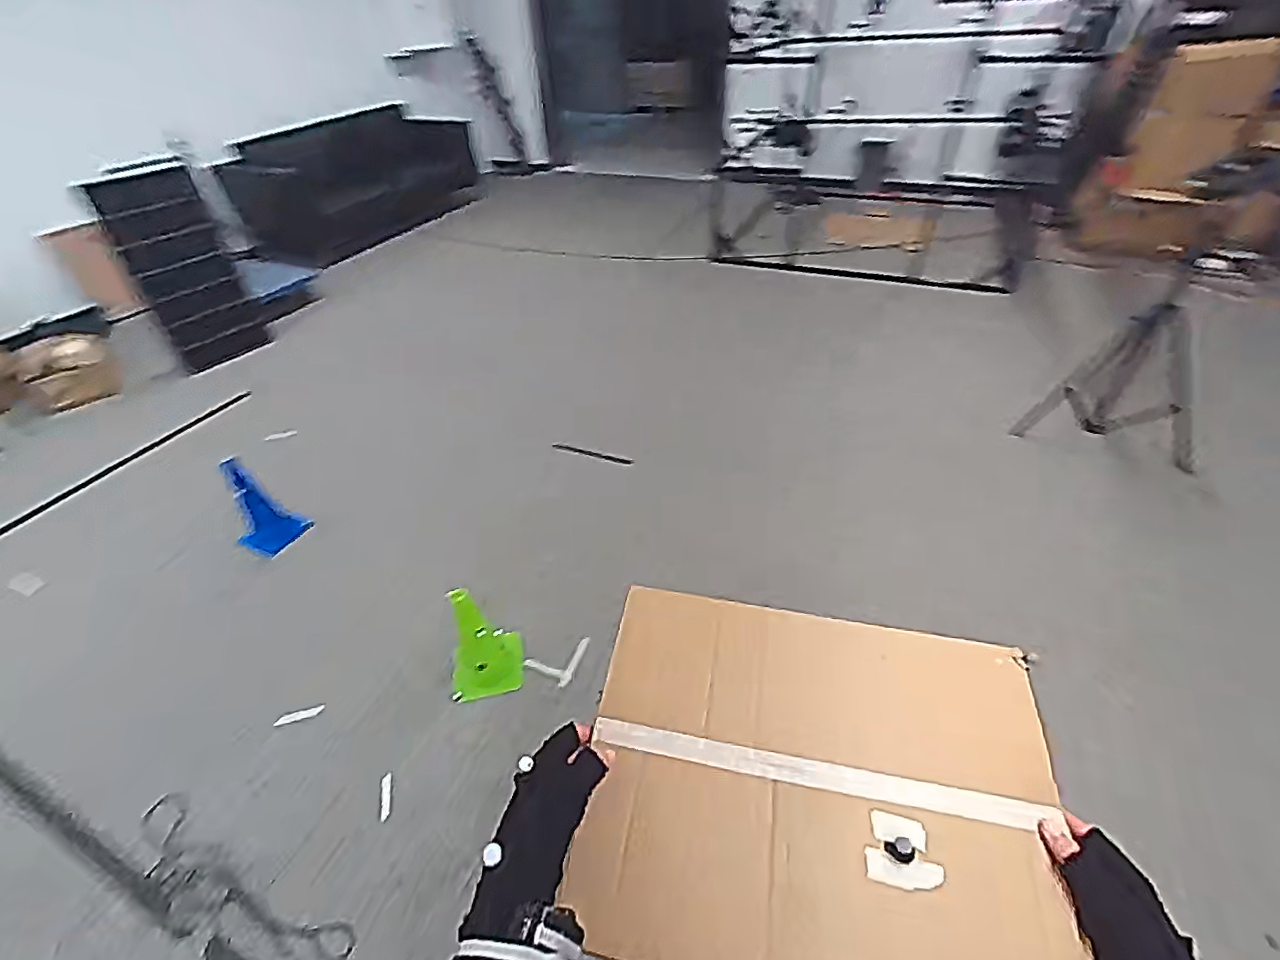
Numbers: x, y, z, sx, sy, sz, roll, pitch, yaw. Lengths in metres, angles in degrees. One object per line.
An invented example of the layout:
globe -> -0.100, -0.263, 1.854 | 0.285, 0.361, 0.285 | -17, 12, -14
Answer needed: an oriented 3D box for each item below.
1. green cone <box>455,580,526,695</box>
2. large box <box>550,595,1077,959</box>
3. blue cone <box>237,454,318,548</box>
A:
green cone -> -0.461, 0.422, 1.548 | 0.200, 0.368, 0.202 | -10, 40, -9
large box -> 0.149, 0.361, 0.602 | 0.408, 0.320, 0.320 | 7, 50, 8
blue cone -> -1.416, 0.063, 2.039 | 0.193, 0.380, 0.192 | 18, 44, 22
